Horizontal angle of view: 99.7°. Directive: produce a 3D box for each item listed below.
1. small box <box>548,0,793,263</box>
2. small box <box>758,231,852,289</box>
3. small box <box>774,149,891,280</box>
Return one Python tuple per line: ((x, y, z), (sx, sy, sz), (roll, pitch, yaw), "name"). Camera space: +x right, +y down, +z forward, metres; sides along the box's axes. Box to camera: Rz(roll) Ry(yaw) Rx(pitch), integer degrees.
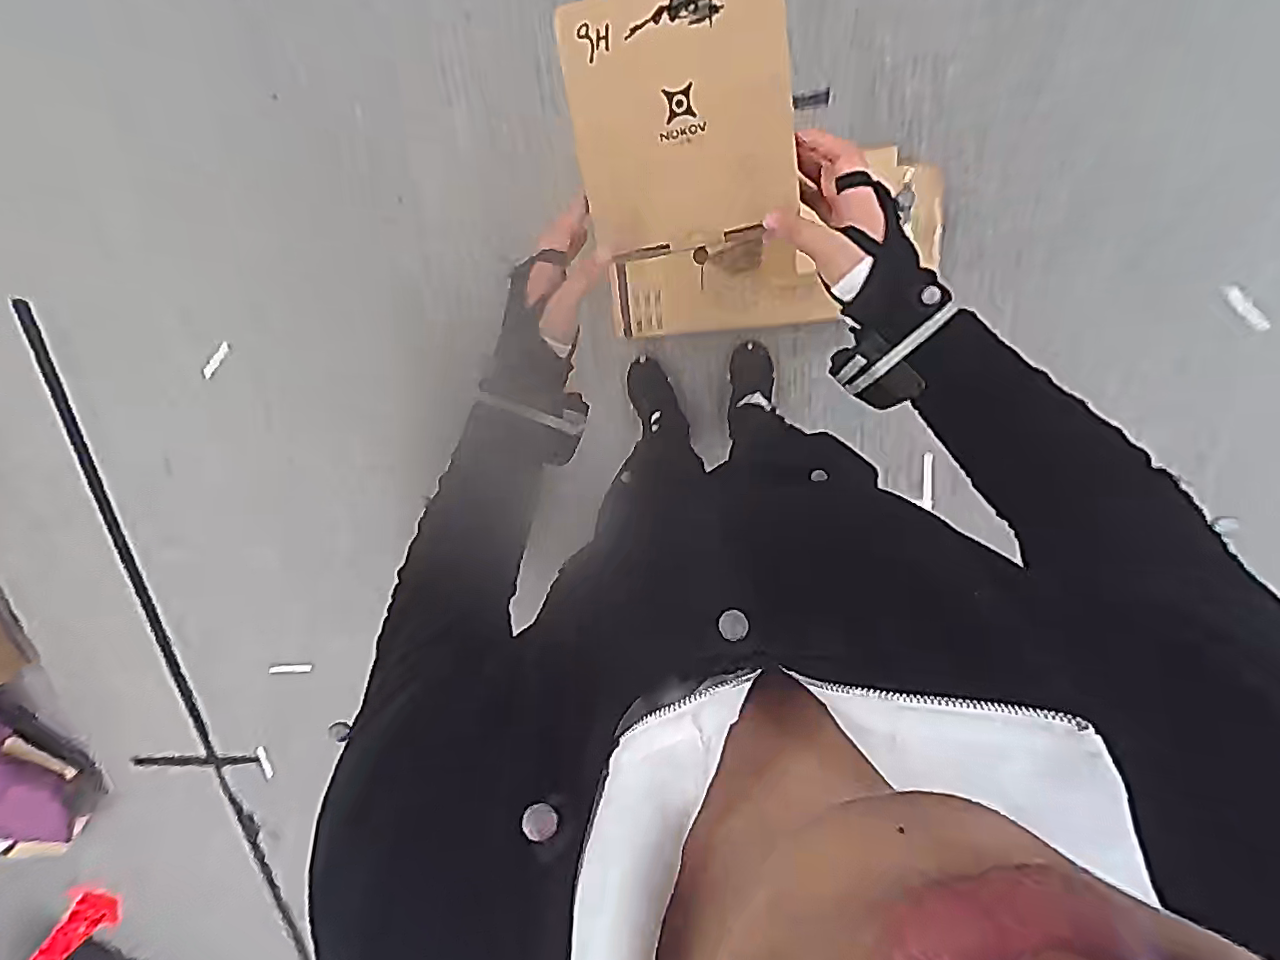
((0.038, -0.302, 0.476), (0.168, 0.176, 0.179), (-7, 113, 11), "small box")
((0.343, -0.500, 1.135), (0.168, 0.176, 0.179), (-1, 108, 5), "small box")
((0.336, -0.465, 0.973), (0.168, 0.176, 0.179), (-5, 107, 6), "small box")
